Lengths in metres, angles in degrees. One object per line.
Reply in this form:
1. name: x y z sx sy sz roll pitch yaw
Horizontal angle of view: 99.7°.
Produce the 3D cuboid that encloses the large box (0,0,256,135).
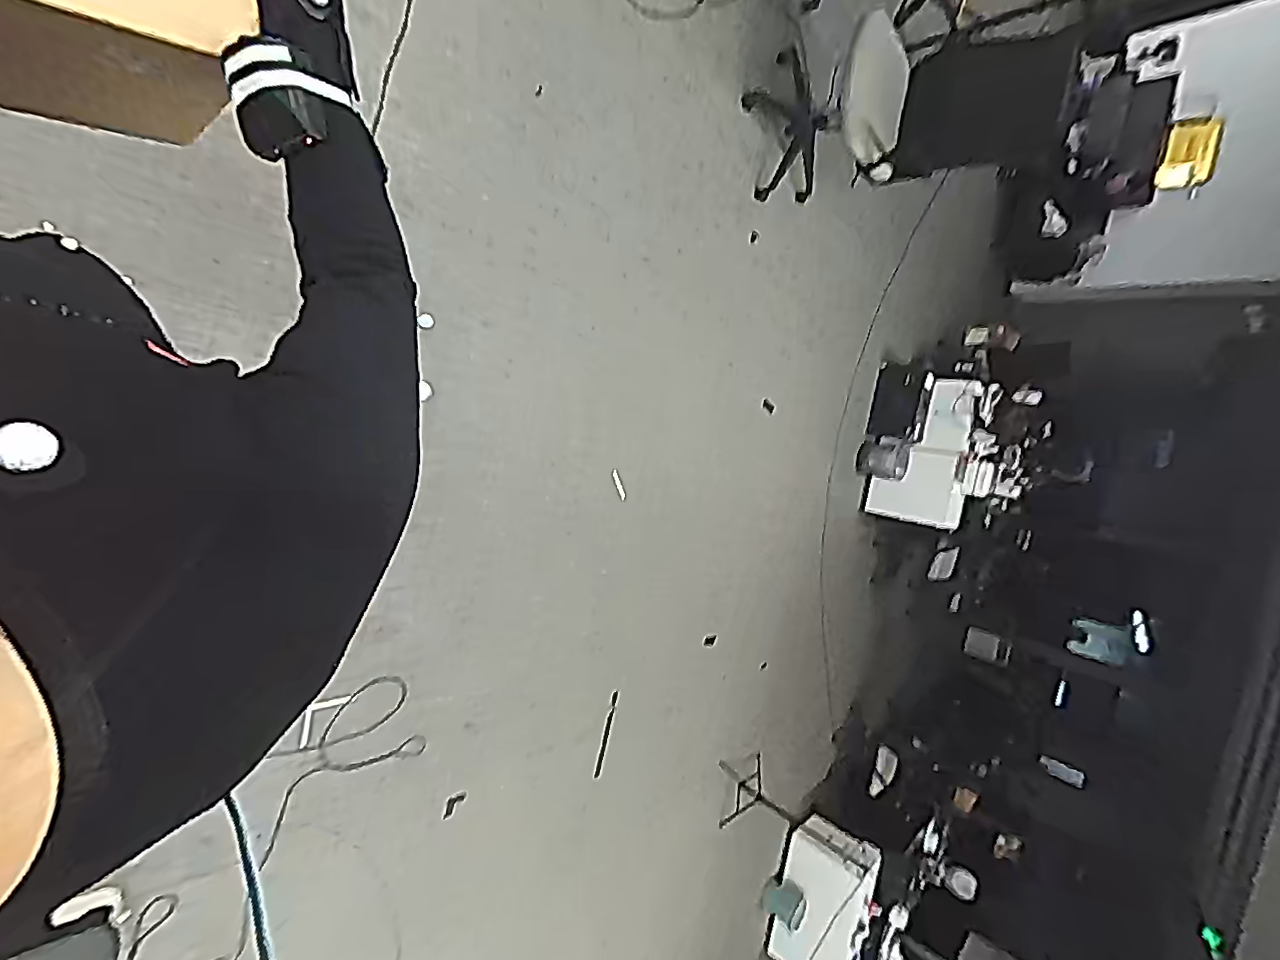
1. large box: -0.524 -0.451 0.315 0.408 0.320 0.320 -15 114 -45
